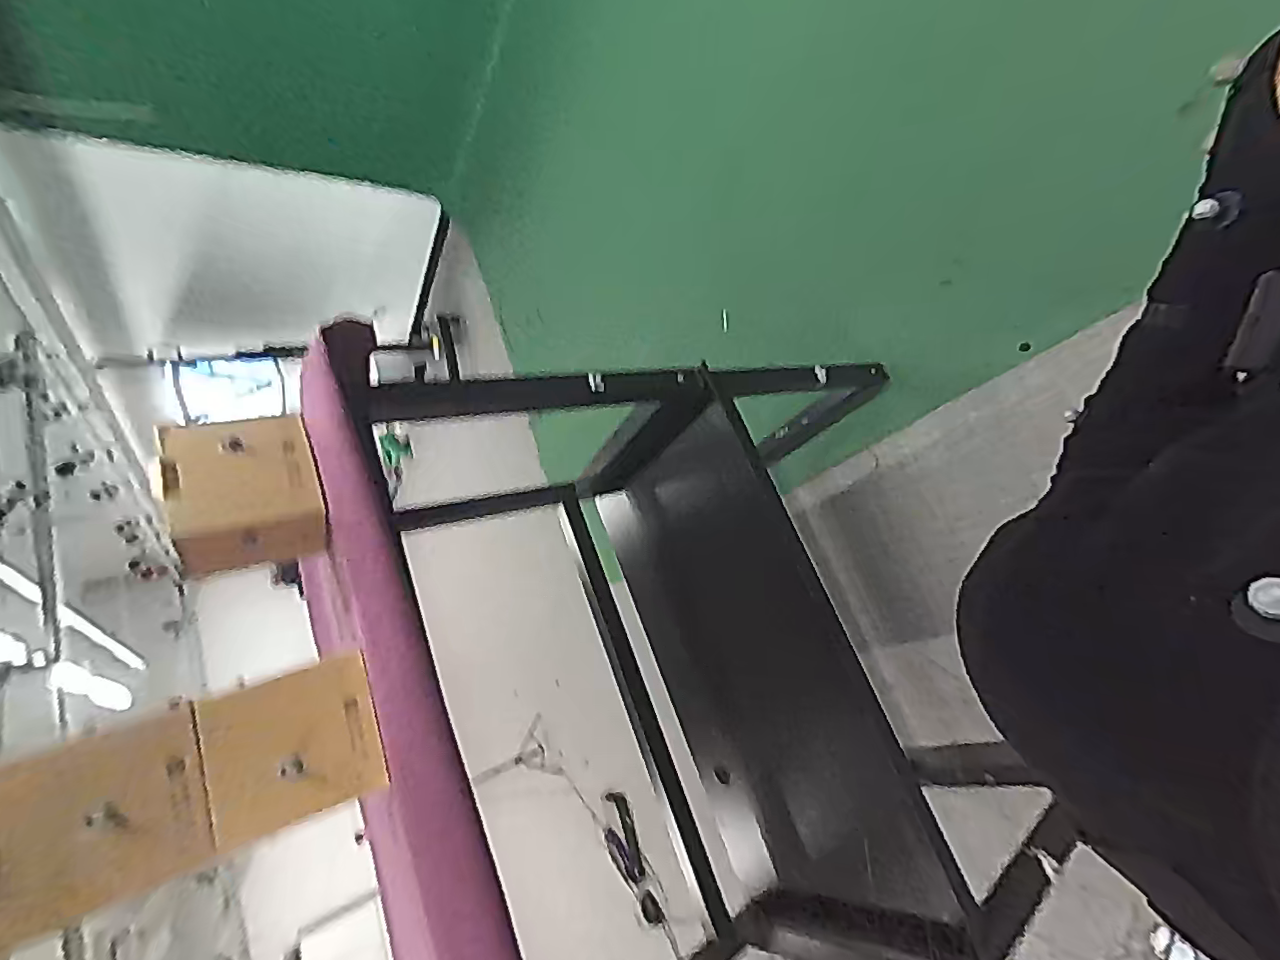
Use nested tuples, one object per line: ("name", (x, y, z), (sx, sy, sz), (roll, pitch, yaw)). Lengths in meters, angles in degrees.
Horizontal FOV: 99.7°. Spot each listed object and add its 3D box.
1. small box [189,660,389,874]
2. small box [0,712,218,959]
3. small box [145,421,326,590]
("small box", (-0.419, 0.332, 0.664), (0.179, 0.176, 0.168), (-35, 71, 54))
("small box", (-0.553, 0.359, 0.573), (0.179, 0.176, 0.168), (-33, 72, 53))
("small box", (-0.554, 0.032, 0.761), (0.179, 0.176, 0.168), (-46, 63, 51))
